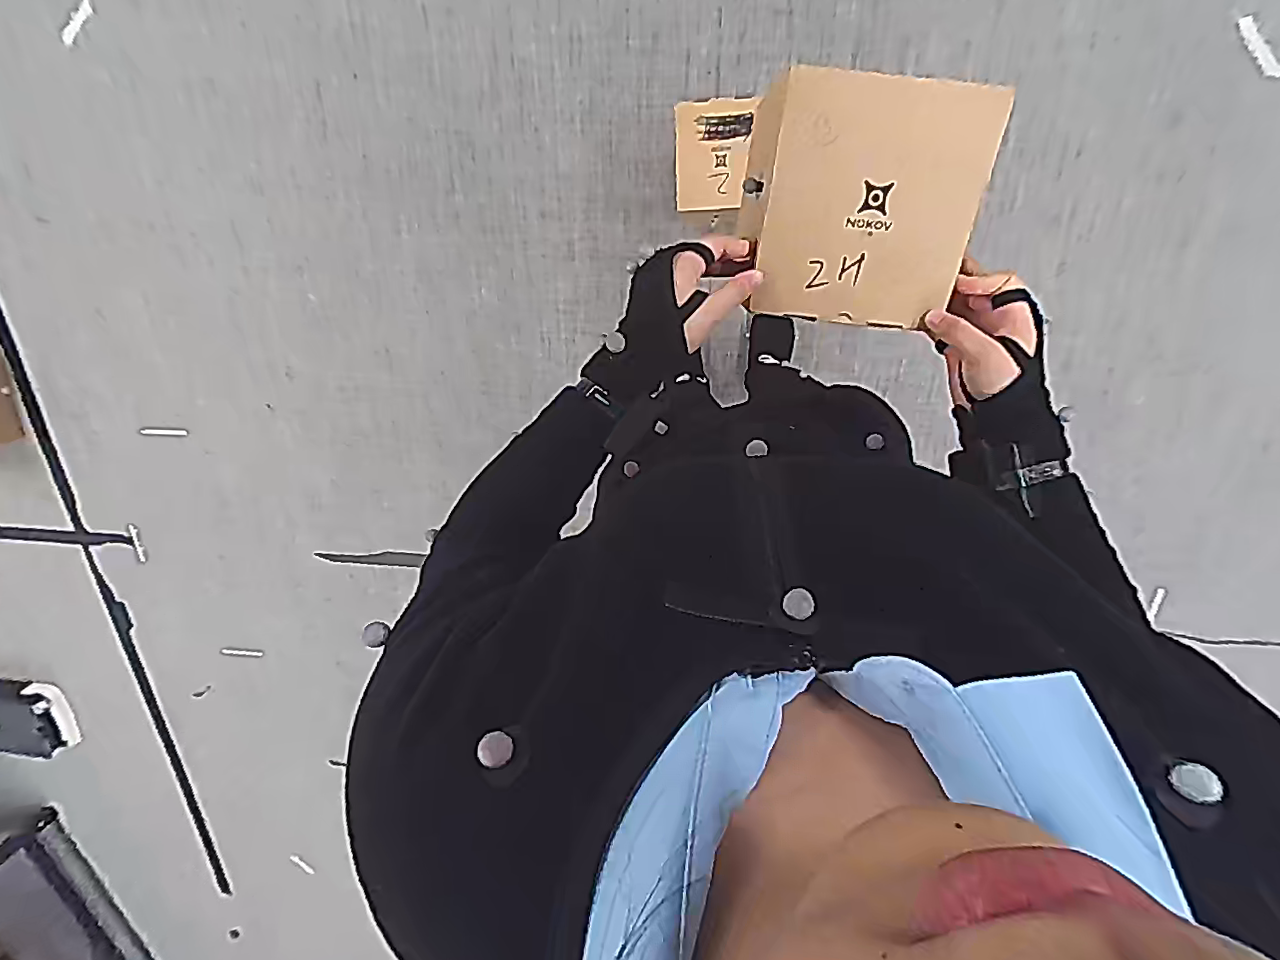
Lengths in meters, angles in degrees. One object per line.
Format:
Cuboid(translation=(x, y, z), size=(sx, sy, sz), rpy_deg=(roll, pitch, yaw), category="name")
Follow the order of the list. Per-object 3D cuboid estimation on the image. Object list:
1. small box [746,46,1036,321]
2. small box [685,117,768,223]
Cuboid(translation=(0.196, -0.254, 0.489), size=(0.168, 0.176, 0.179), rpy_deg=(6, 116, 1), category="small box")
Cuboid(translation=(0.184, -0.673, 1.192), size=(0.168, 0.176, 0.179), rpy_deg=(0, 110, 6), category="small box")
